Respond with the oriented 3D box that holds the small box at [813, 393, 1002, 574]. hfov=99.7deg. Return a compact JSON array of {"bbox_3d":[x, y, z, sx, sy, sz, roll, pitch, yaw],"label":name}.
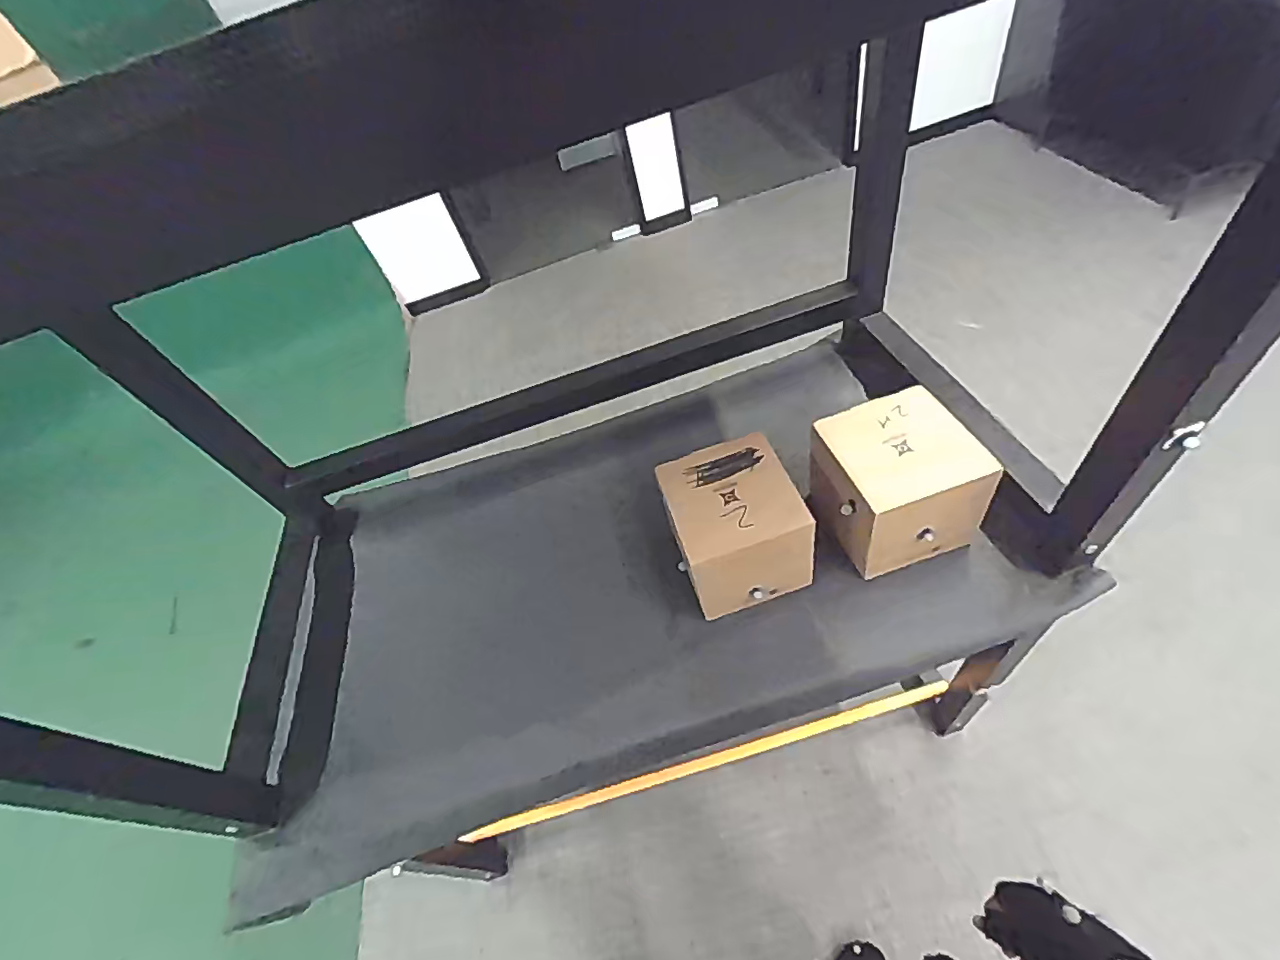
[{"bbox_3d":[0.360,0.013,0.766,0.168,0.176,0.179,-19,48,0],"label":"small box"}]
